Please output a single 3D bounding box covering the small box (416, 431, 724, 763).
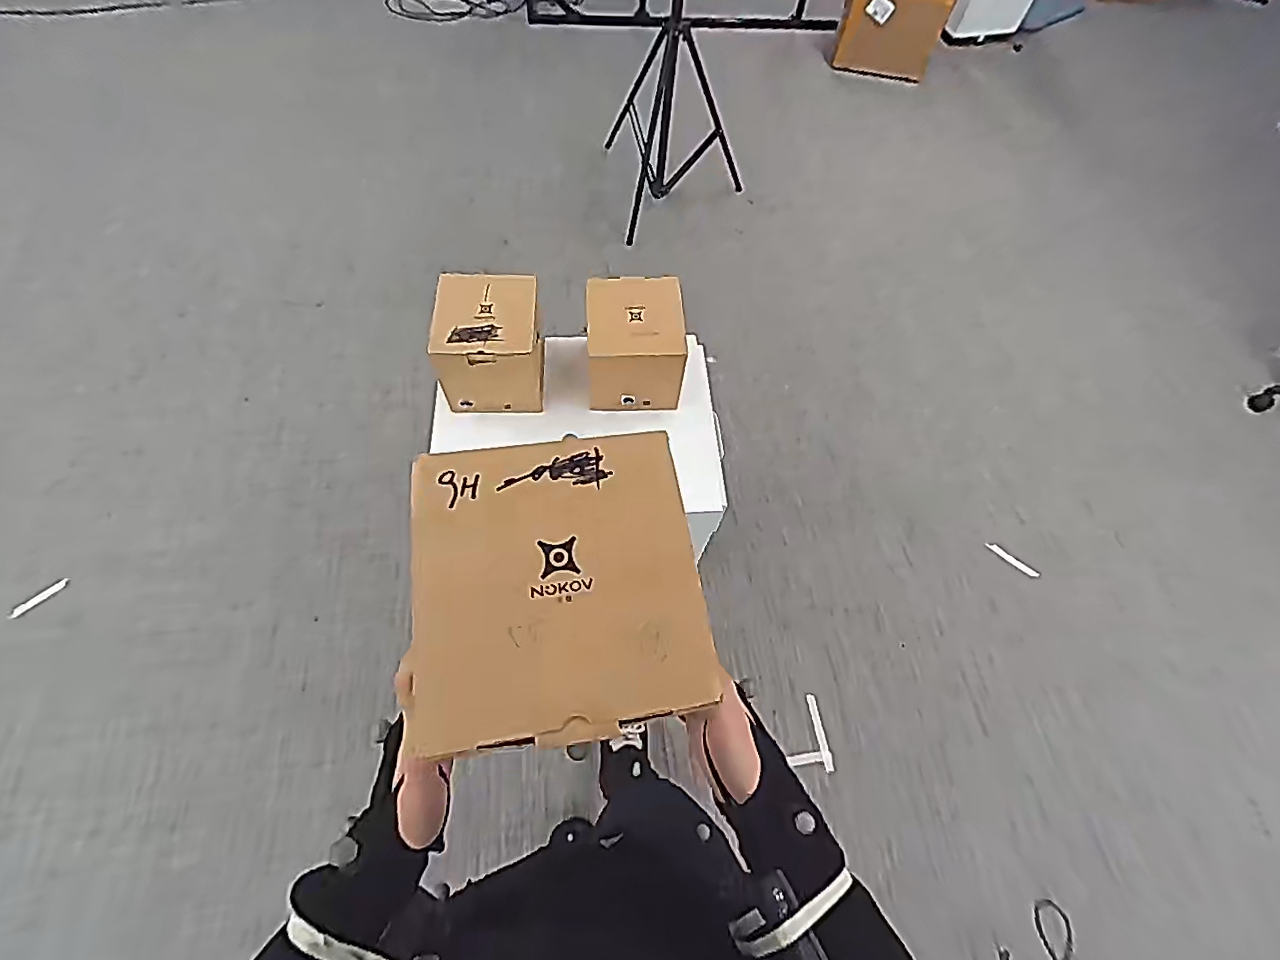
[{"bbox_3d":[-0.054,0.085,0.390,0.168,0.176,0.179,-7,68,-11],"label":"small box"}]

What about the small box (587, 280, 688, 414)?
[{"bbox_3d":[-0.012,-0.238,0.982,0.168,0.176,0.179,-3,65,-4],"label":"small box"}]

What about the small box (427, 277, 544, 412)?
[{"bbox_3d":[-0.261,-0.233,0.959,0.168,0.176,0.179,-1,63,-5],"label":"small box"}]
